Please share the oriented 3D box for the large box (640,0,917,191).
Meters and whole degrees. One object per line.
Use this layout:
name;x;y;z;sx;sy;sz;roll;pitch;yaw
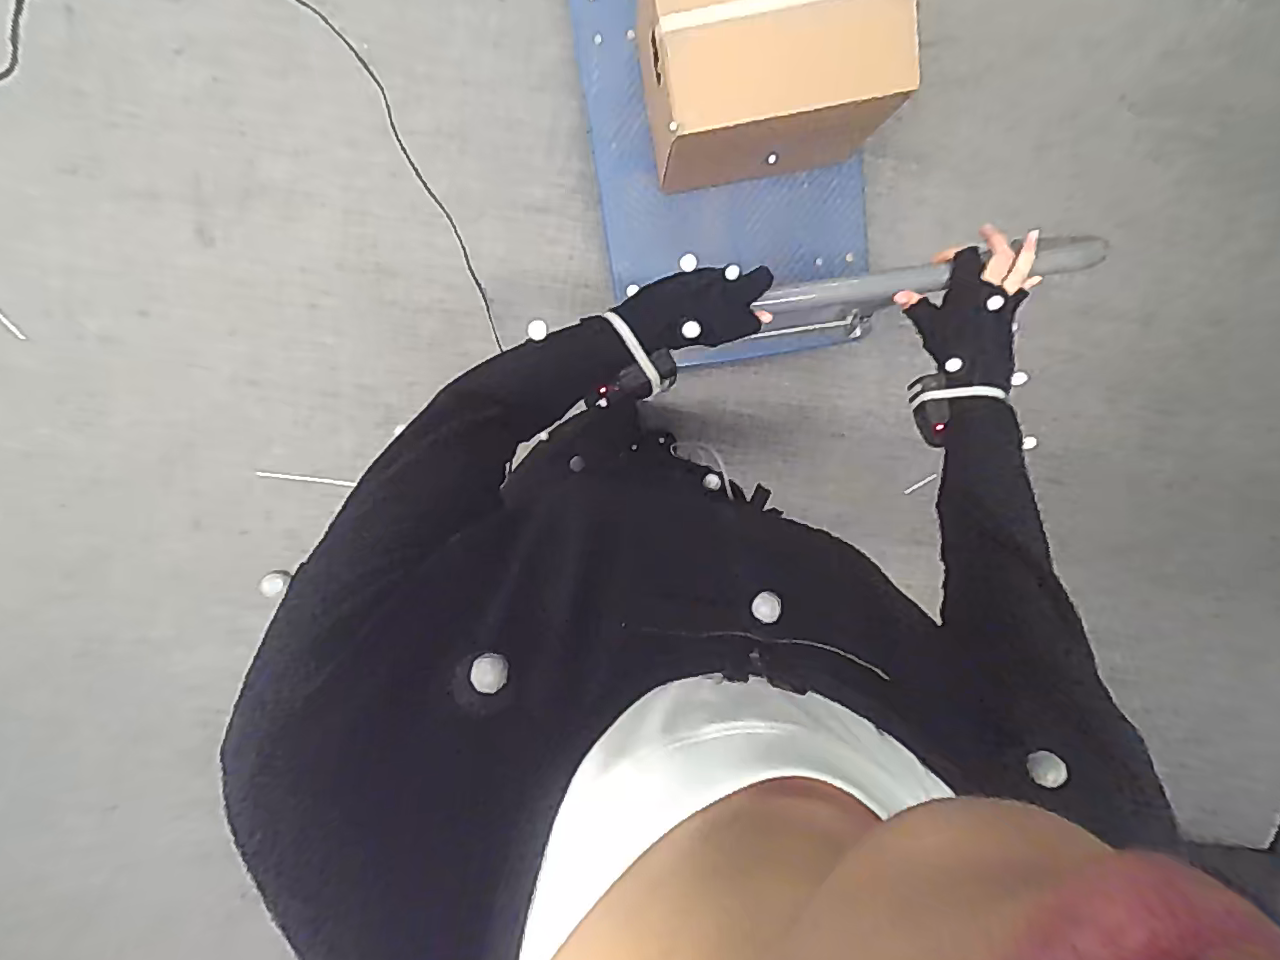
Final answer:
large box;0.226;-0.781;1.000;0.408;0.320;0.320;-12;101;1
